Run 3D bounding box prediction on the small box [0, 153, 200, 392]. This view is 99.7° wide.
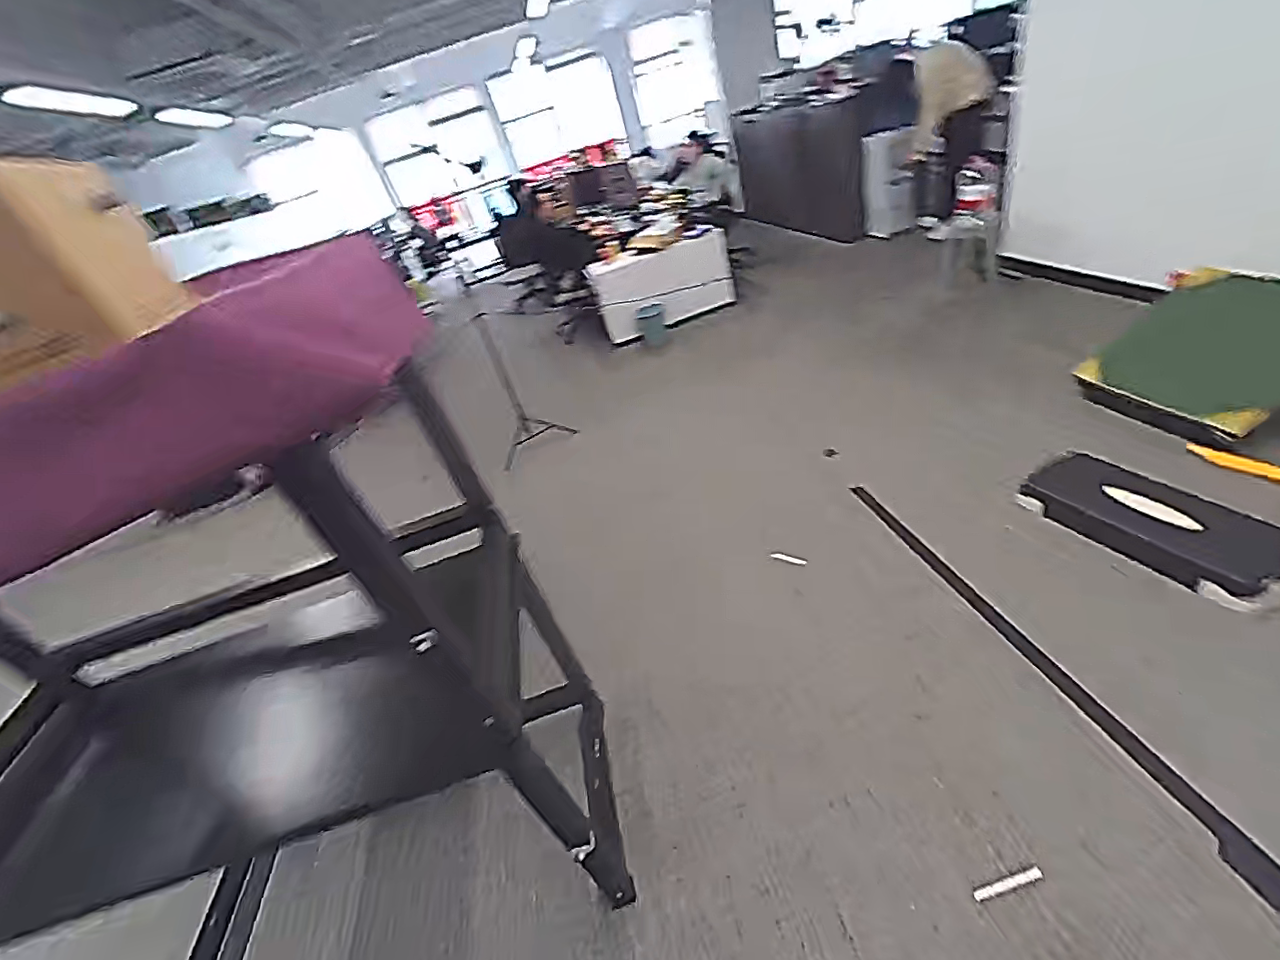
[{"bbox_3d":[-0.605,-0.208,0.548,0.168,0.176,0.179,-24,32,-5],"label":"small box"}]
